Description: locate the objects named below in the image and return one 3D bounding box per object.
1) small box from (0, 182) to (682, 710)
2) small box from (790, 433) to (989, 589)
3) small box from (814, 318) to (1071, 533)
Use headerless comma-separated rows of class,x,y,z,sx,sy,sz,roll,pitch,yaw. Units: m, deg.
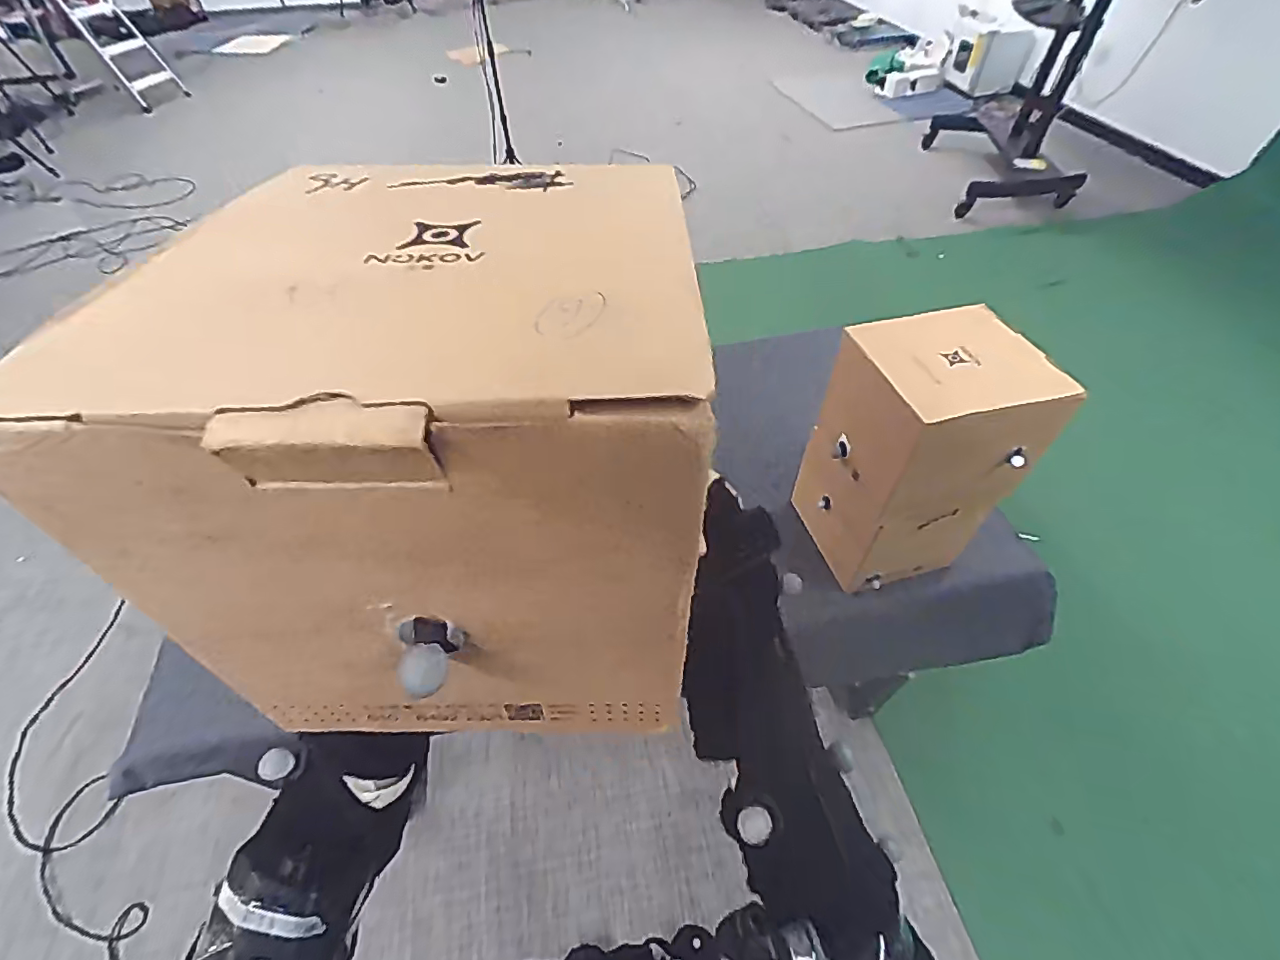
small box,-0.069,-0.013,0.239,0.168,0.176,0.179,0,45,0
small box,0.333,0.036,0.764,0.168,0.176,0.179,-13,49,-9
small box,0.330,-0.062,0.635,0.179,0.176,0.168,-12,49,-6
